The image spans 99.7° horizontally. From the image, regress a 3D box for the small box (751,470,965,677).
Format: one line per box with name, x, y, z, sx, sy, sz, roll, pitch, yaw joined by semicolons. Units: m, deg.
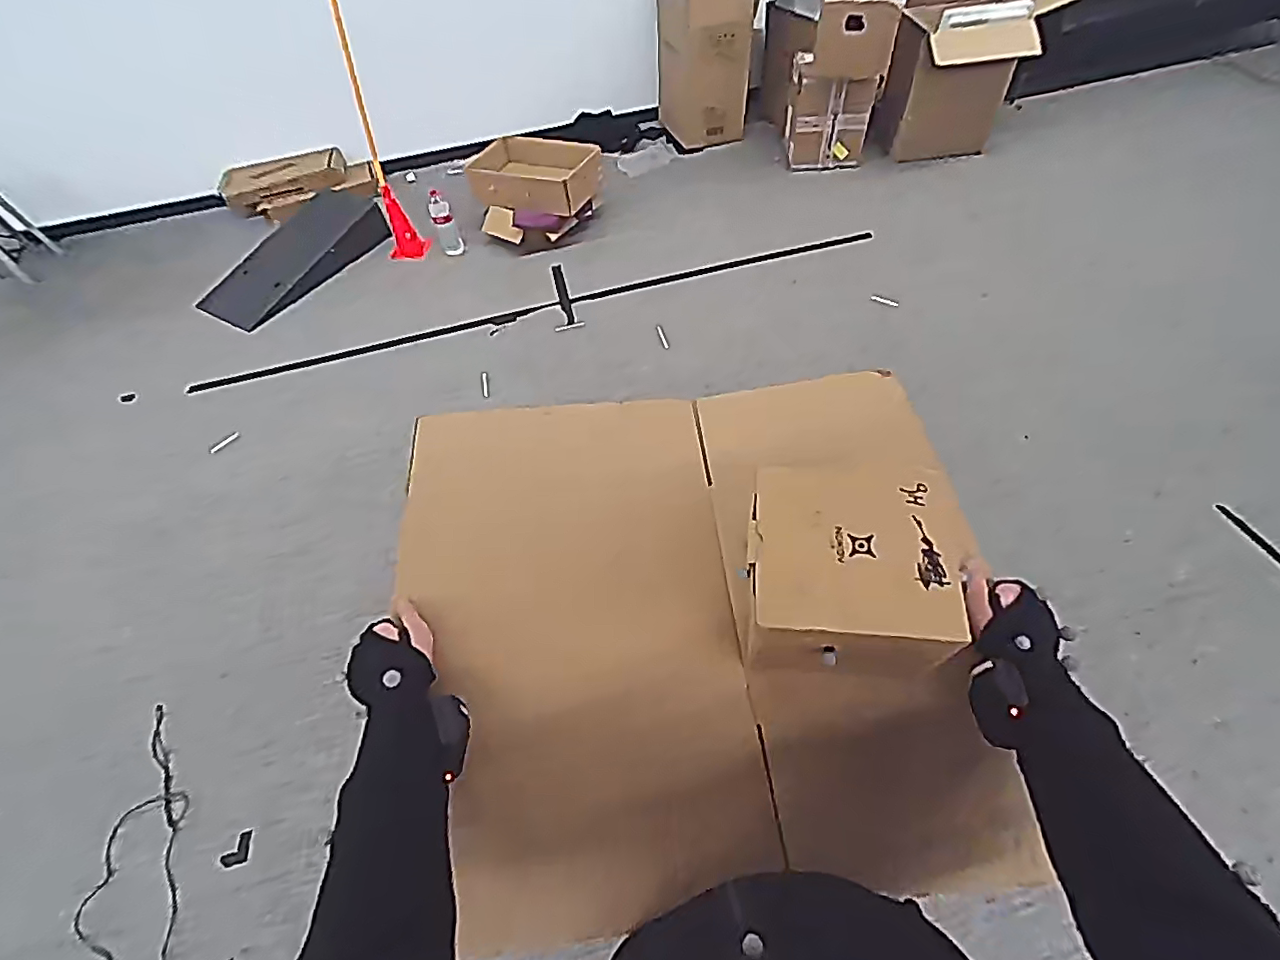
small box;0.208;0.103;0.571;0.179;0.176;0.168;1;60;11
